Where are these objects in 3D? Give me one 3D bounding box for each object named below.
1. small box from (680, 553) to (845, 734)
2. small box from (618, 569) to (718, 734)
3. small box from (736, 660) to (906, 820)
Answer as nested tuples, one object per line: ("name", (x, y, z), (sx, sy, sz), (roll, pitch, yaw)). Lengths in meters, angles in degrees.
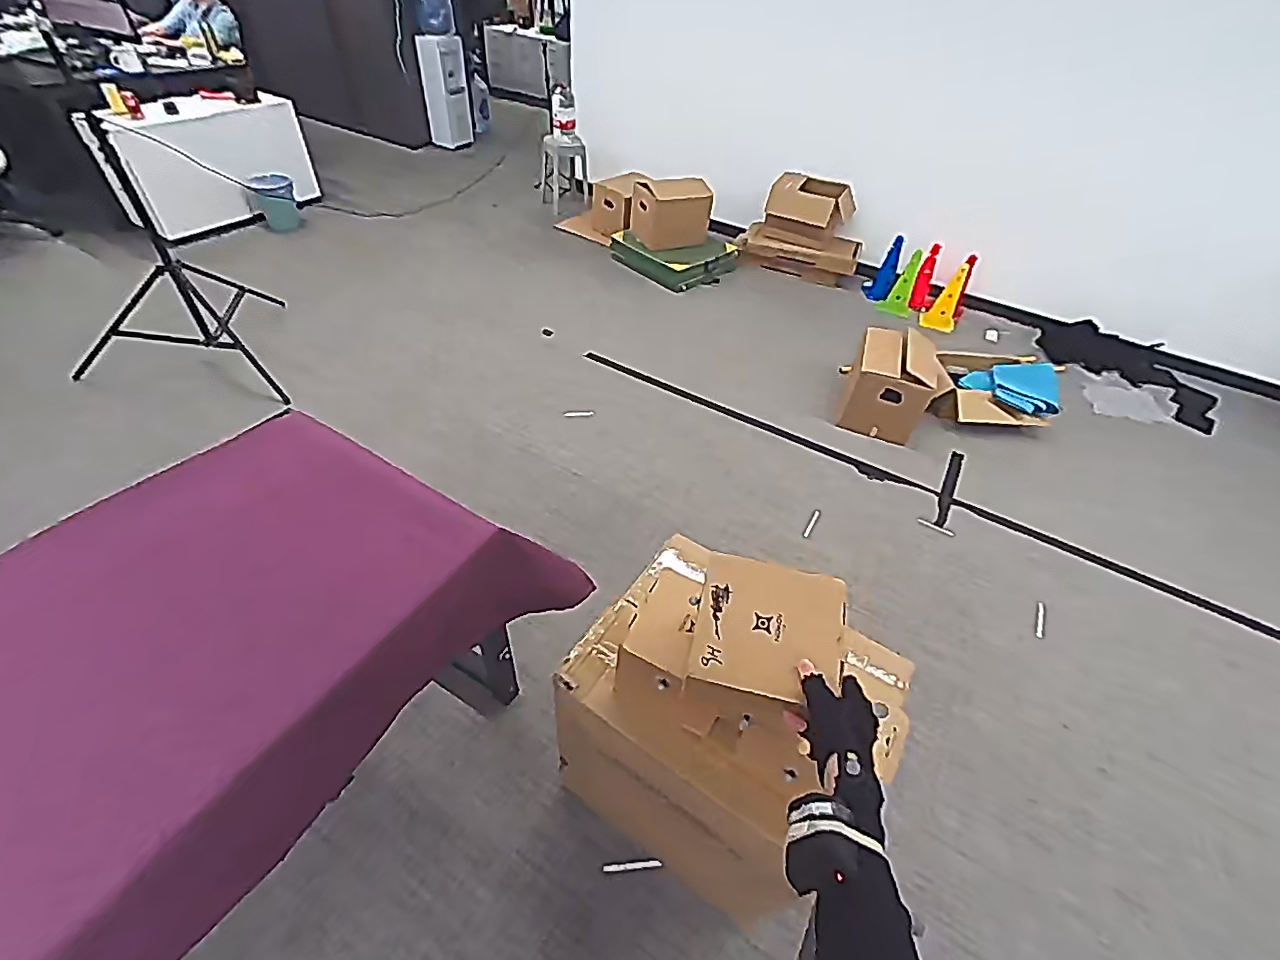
("small box", (0.156, 0.222, 0.717), (0.179, 0.176, 0.168), (11, 55, 8))
("small box", (0.075, 0.285, 0.889), (0.179, 0.176, 0.168), (24, 50, 15))
("small box", (0.264, 0.377, 0.814), (0.179, 0.176, 0.168), (25, 49, 21))
